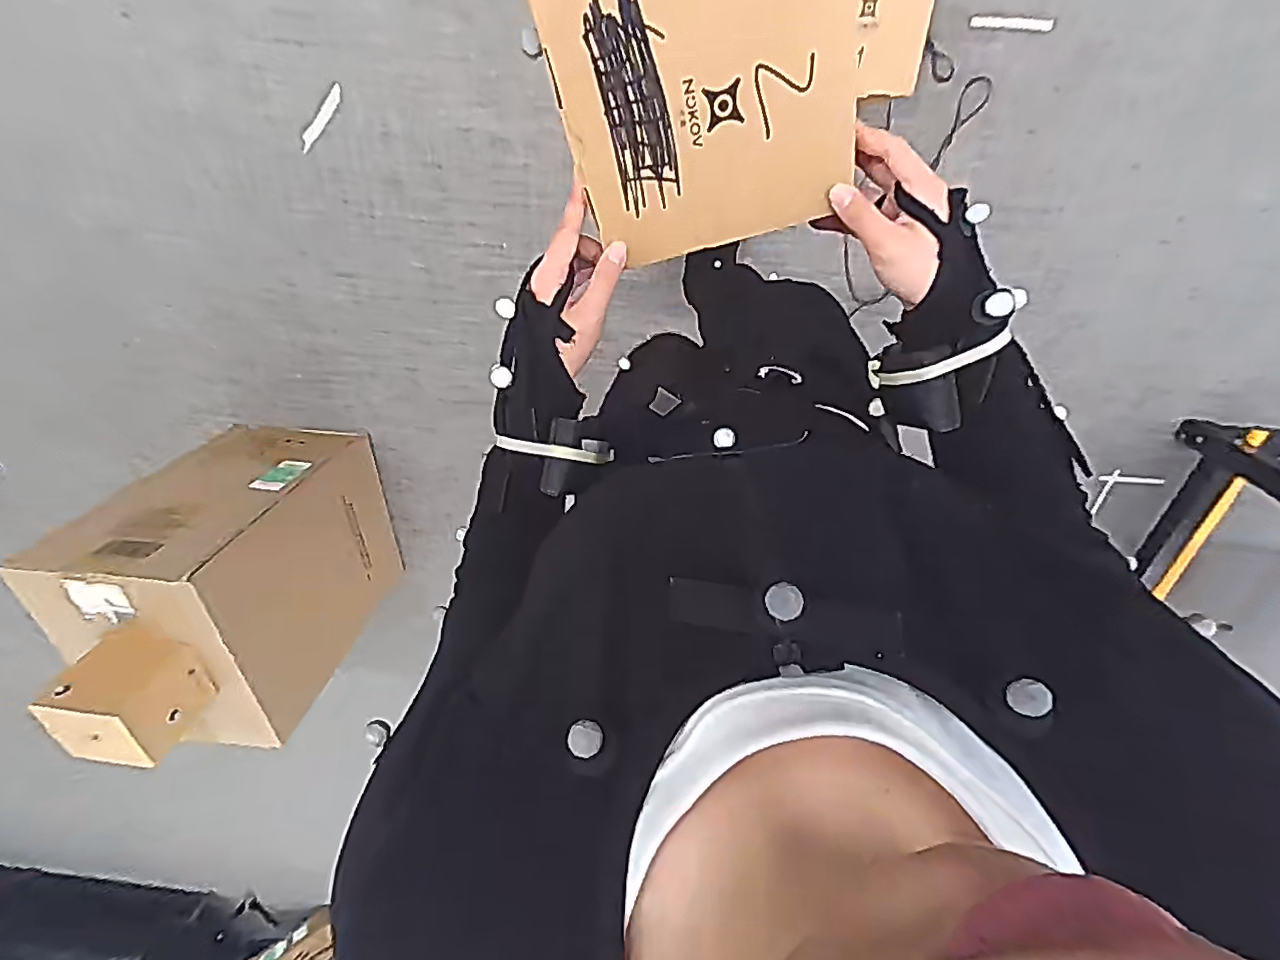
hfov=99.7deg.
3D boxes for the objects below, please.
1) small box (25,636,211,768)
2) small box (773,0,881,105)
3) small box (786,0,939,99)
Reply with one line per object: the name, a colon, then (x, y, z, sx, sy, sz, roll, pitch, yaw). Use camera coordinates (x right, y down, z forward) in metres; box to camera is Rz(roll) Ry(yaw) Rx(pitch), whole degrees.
small box: (-0.985, 0.425, 1.048, 0.179, 0.176, 0.168, 6, 122, 3)
small box: (0.324, -0.744, 0.908, 0.168, 0.176, 0.179, 5, 123, 4)
small box: (0.309, -0.657, 0.768, 0.168, 0.176, 0.179, 4, 123, 5)
